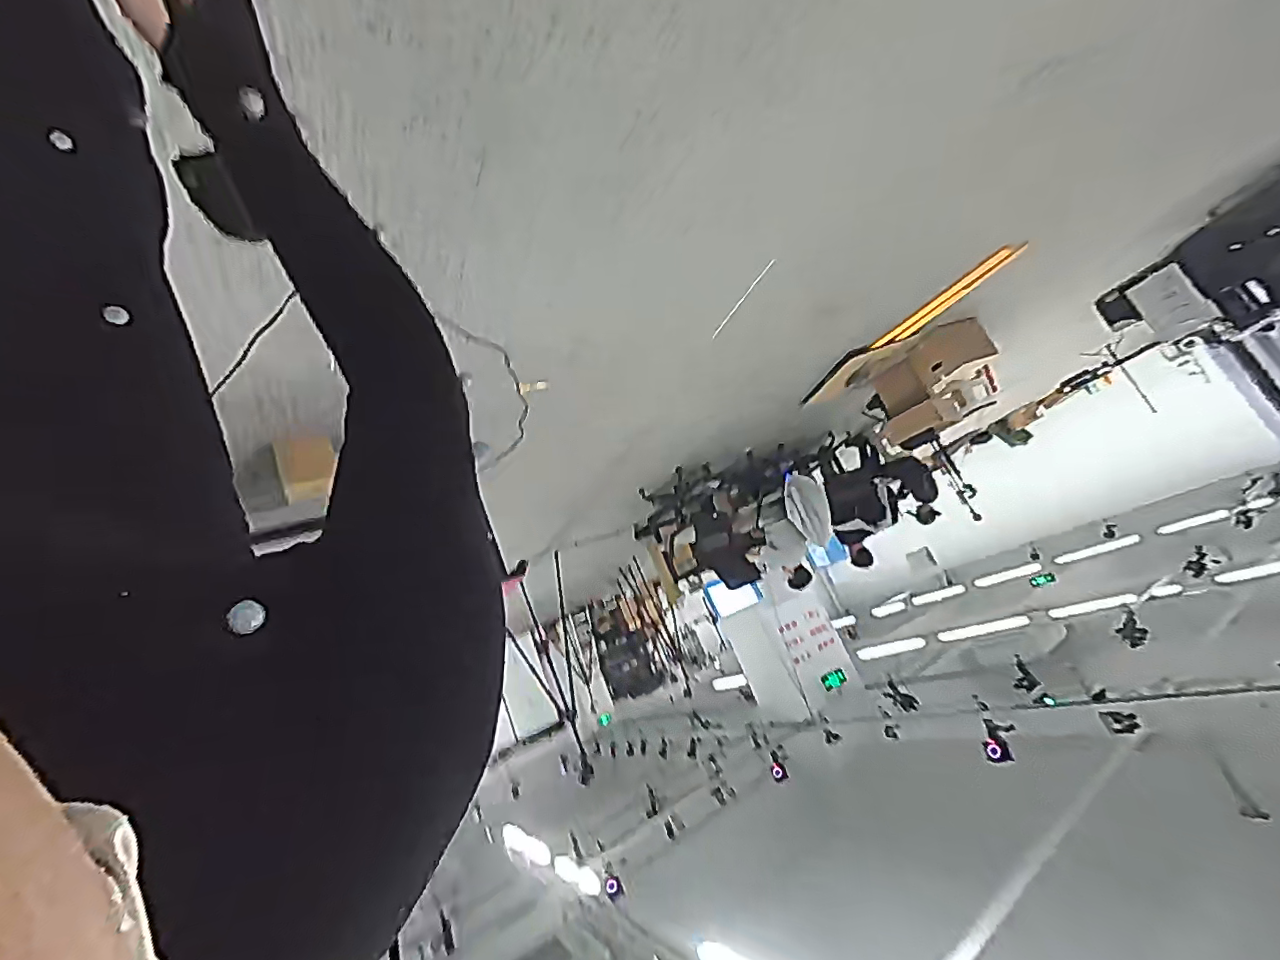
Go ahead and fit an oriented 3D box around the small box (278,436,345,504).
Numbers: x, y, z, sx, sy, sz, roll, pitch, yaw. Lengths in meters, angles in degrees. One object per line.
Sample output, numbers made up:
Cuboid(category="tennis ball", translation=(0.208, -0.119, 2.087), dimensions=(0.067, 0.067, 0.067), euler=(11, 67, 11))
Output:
Cuboid(category="small box", translation=(-1.170, -0.037, 1.924), dimensions=(0.179, 0.176, 0.168), euler=(-15, 163, -31))
